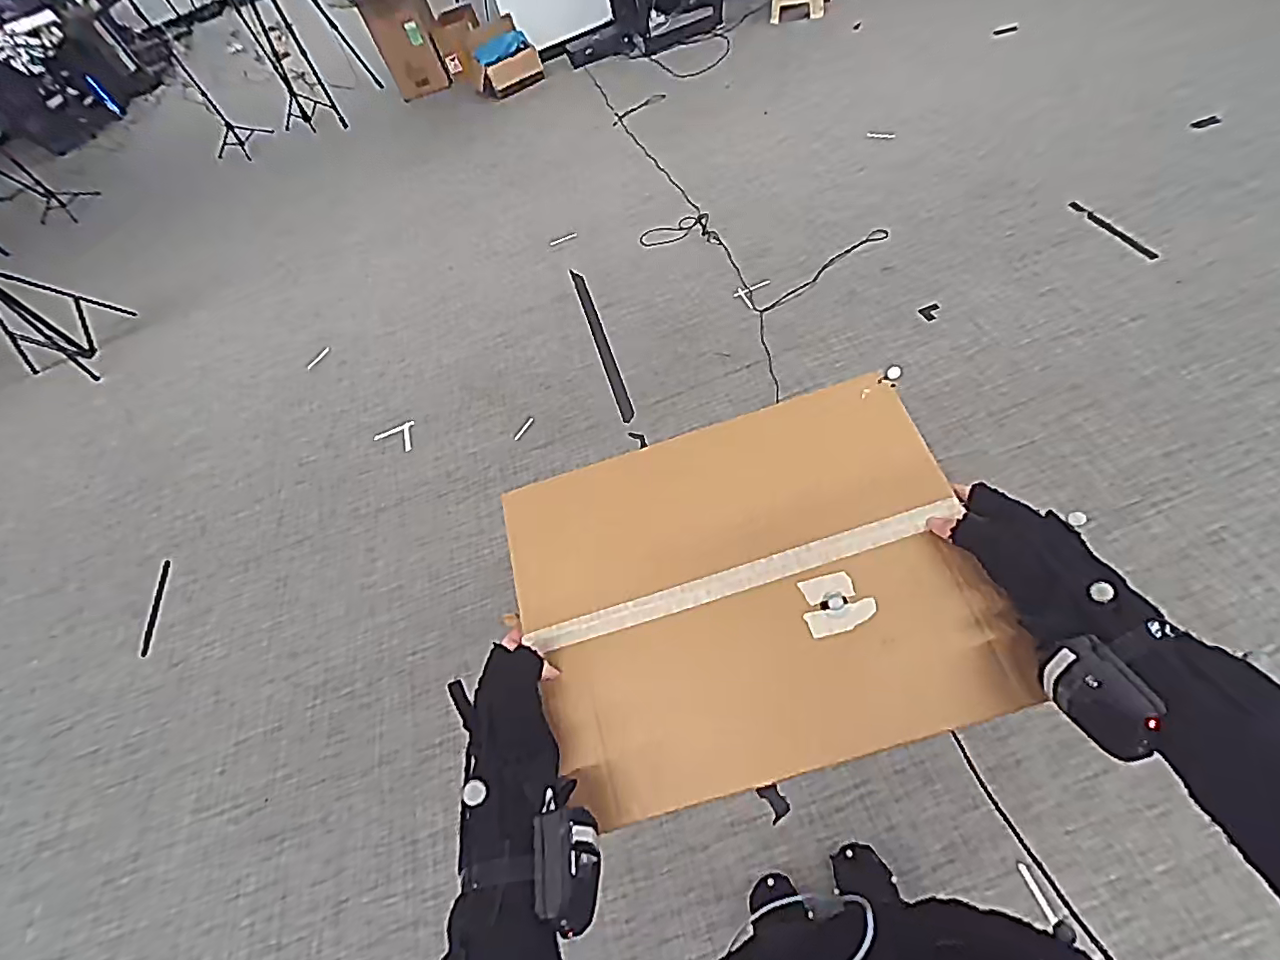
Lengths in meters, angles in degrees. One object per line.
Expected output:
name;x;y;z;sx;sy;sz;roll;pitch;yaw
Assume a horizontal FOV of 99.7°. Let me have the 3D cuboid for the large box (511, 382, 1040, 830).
large box;0.114;0.152;0.629;0.408;0.320;0.320;-18;65;2
